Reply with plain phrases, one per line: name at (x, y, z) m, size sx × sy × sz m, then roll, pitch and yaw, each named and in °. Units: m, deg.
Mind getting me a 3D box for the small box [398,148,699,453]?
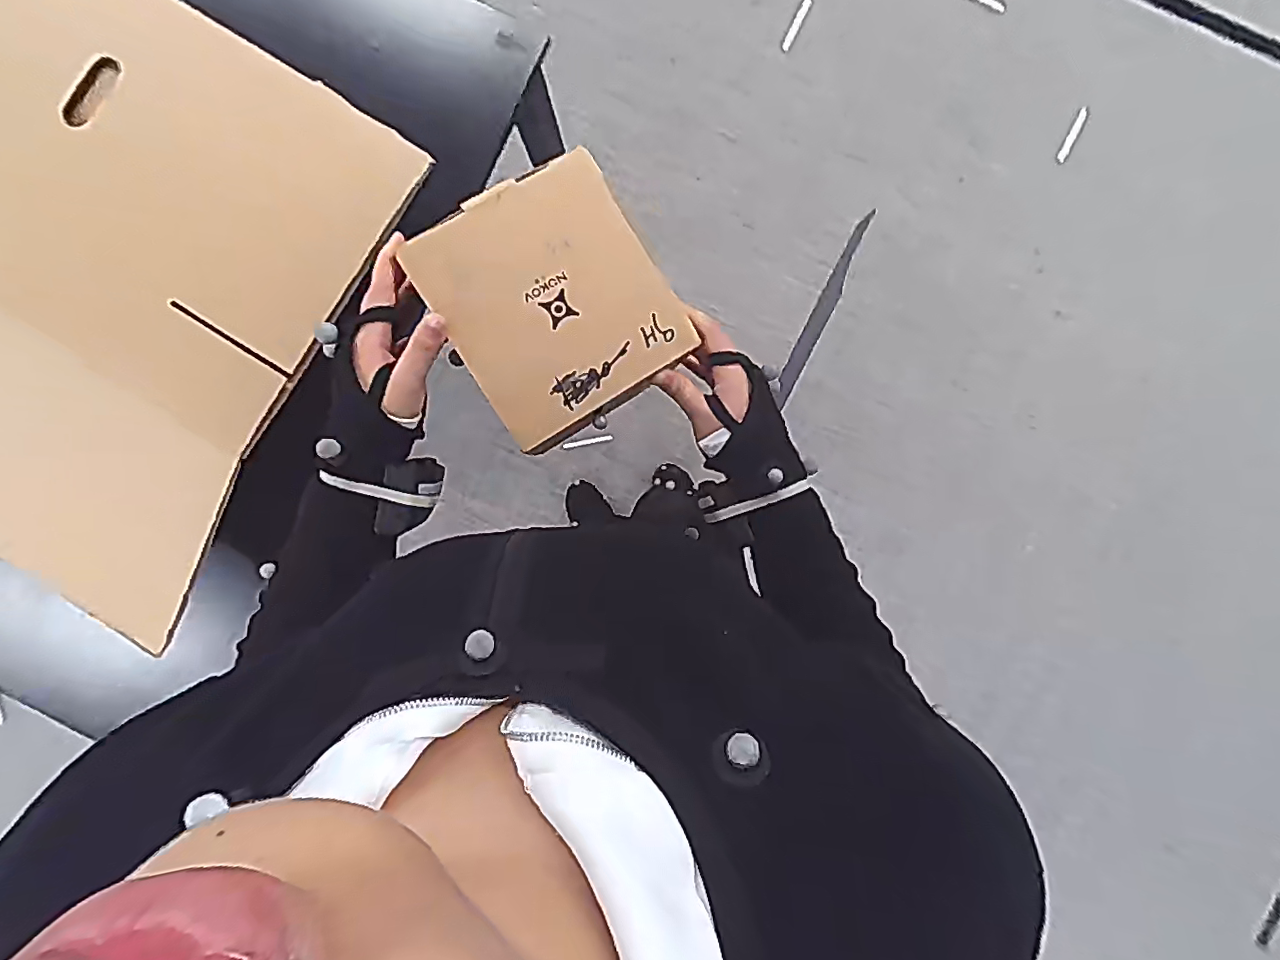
small box at (-0.076, -0.137, 0.484) m, size 0.168 × 0.176 × 0.179 m, roll -33°, pitch 95°, yaw -6°
